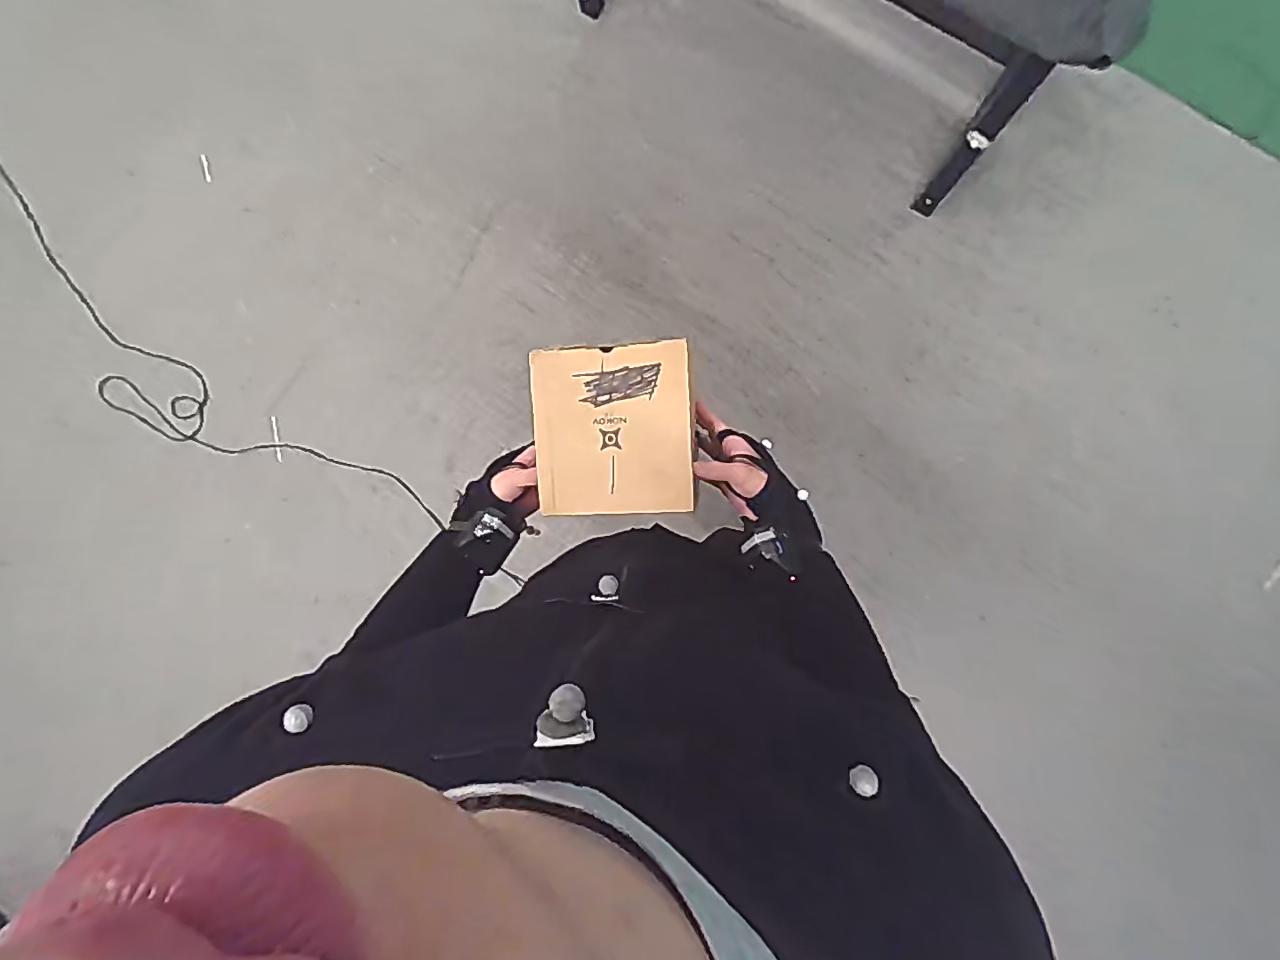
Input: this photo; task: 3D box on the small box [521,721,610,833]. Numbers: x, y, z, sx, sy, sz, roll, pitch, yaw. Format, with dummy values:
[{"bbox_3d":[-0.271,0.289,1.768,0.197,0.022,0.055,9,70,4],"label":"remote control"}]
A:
[{"bbox_3d":[-0.196,0.813,1.496,0.168,0.176,0.179,32,91,2],"label":"small box"}]
